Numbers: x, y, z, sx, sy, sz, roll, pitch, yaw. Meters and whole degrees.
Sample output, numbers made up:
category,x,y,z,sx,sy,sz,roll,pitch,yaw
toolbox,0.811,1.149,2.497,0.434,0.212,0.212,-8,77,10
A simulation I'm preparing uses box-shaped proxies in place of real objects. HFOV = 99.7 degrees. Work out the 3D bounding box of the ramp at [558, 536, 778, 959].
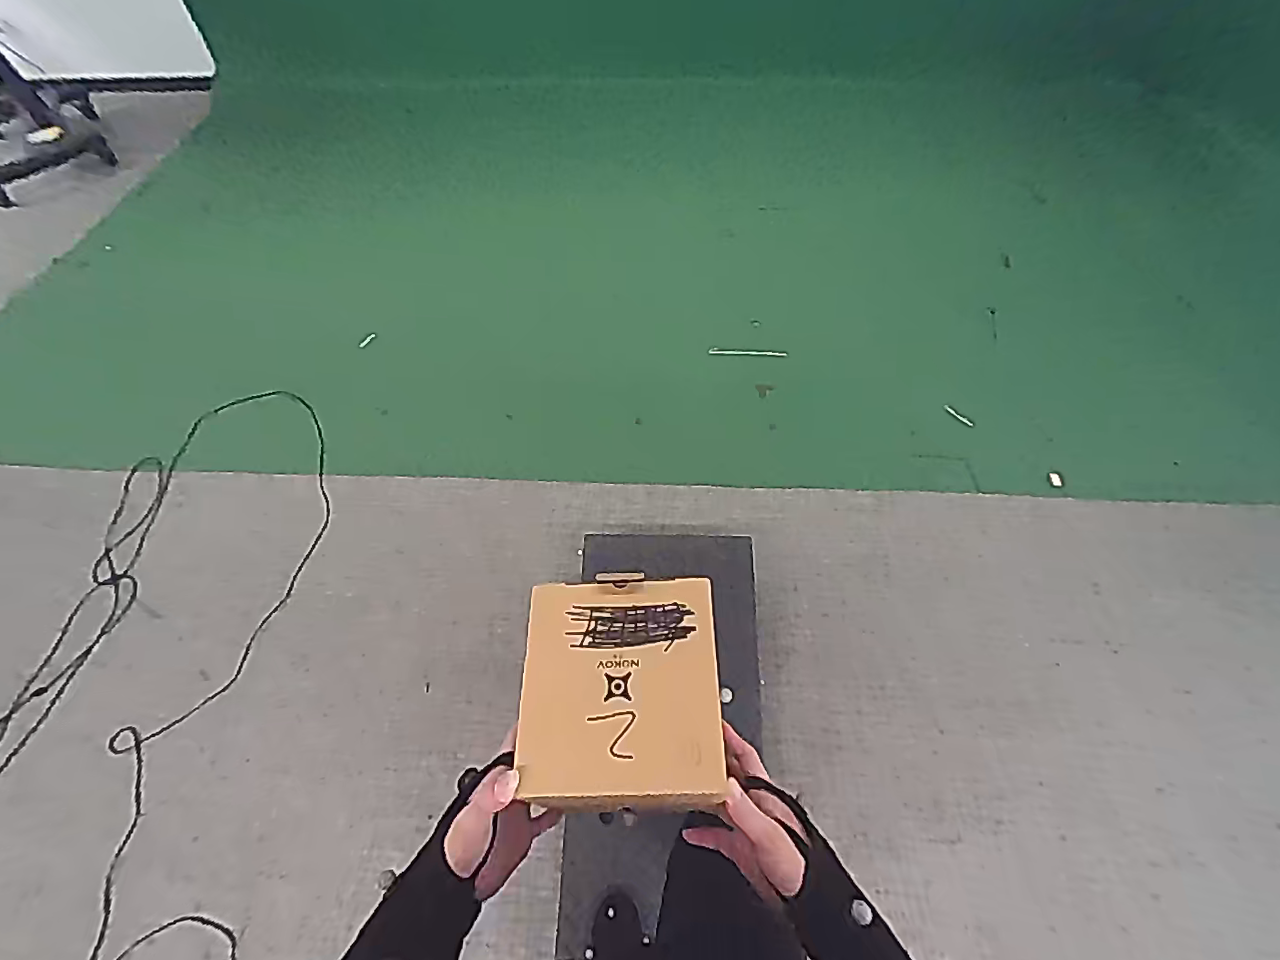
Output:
category,x,y,z,sx,sy,sz,roll,pitch,yaw
ramp,0.074,0.626,1.374,0.509,0.206,0.991,0,57,0
